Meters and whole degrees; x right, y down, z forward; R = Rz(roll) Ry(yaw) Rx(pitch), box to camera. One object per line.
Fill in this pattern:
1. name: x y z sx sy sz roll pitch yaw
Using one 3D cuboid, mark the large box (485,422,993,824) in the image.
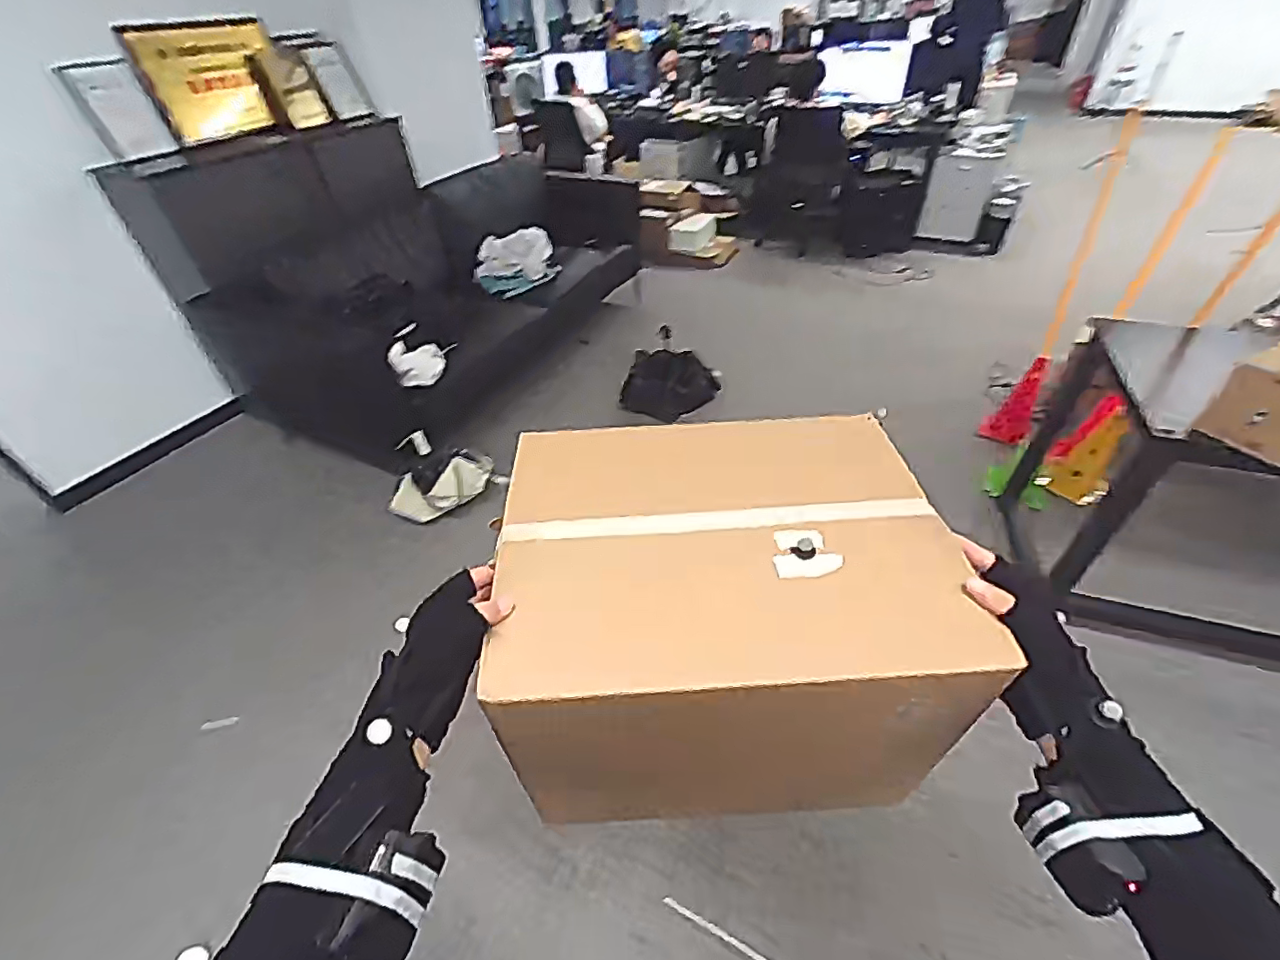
1. large box: 0.070 0.157 0.618 0.408 0.320 0.320 -4 43 -2
